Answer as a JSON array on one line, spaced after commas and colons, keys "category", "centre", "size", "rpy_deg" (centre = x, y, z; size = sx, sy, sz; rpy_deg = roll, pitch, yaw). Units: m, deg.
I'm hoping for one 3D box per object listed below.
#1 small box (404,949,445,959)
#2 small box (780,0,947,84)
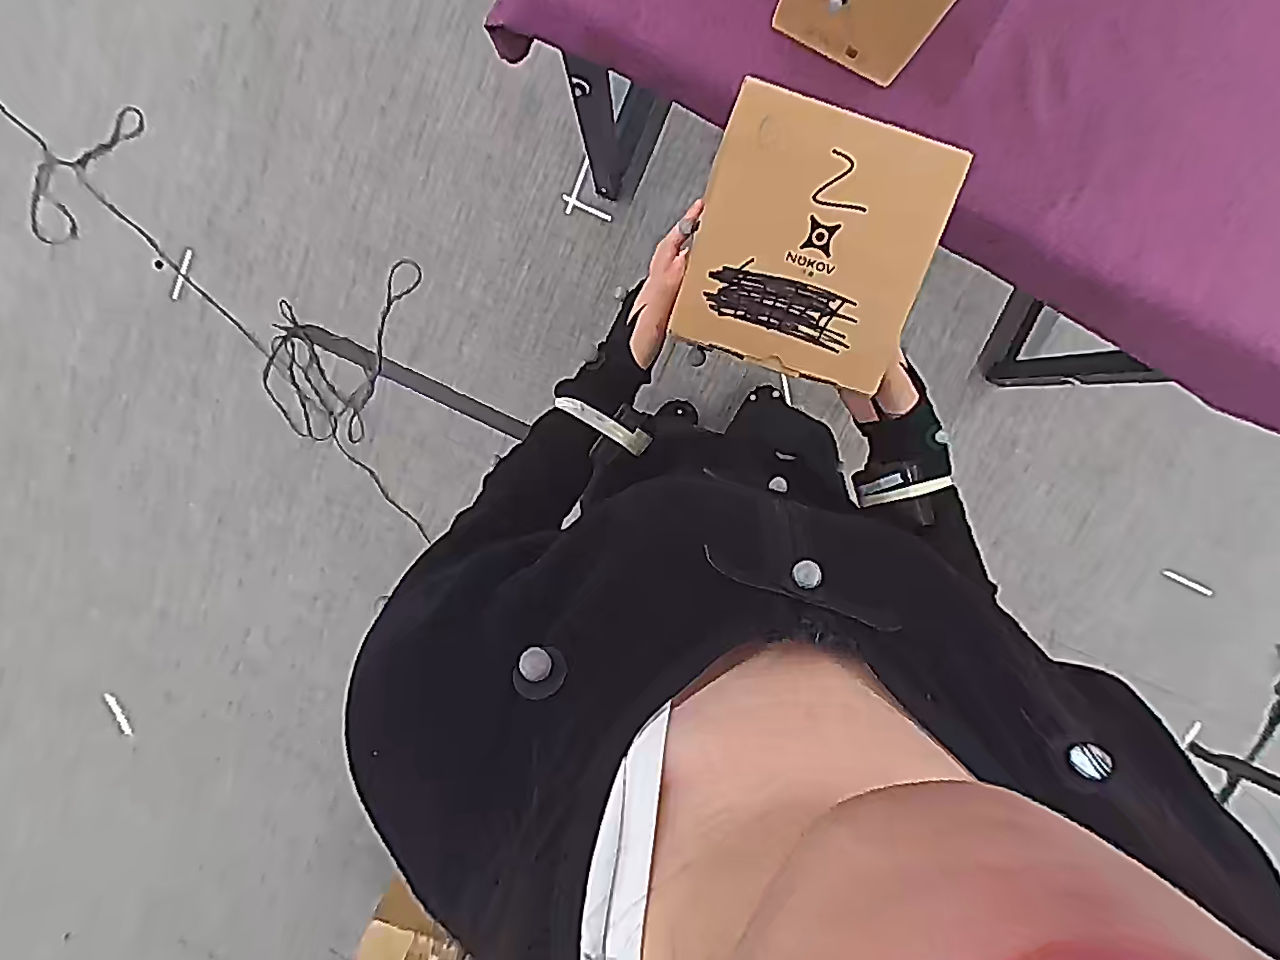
[{"category": "small box", "centre": [-0.554, 1.328, 1.333], "size": [0.168, 0.176, 0.179], "rpy_deg": [22, 98, -3]}, {"category": "small box", "centre": [0.272, -0.593, 0.593], "size": [0.168, 0.176, 0.179], "rpy_deg": [26, 97, -4]}]
